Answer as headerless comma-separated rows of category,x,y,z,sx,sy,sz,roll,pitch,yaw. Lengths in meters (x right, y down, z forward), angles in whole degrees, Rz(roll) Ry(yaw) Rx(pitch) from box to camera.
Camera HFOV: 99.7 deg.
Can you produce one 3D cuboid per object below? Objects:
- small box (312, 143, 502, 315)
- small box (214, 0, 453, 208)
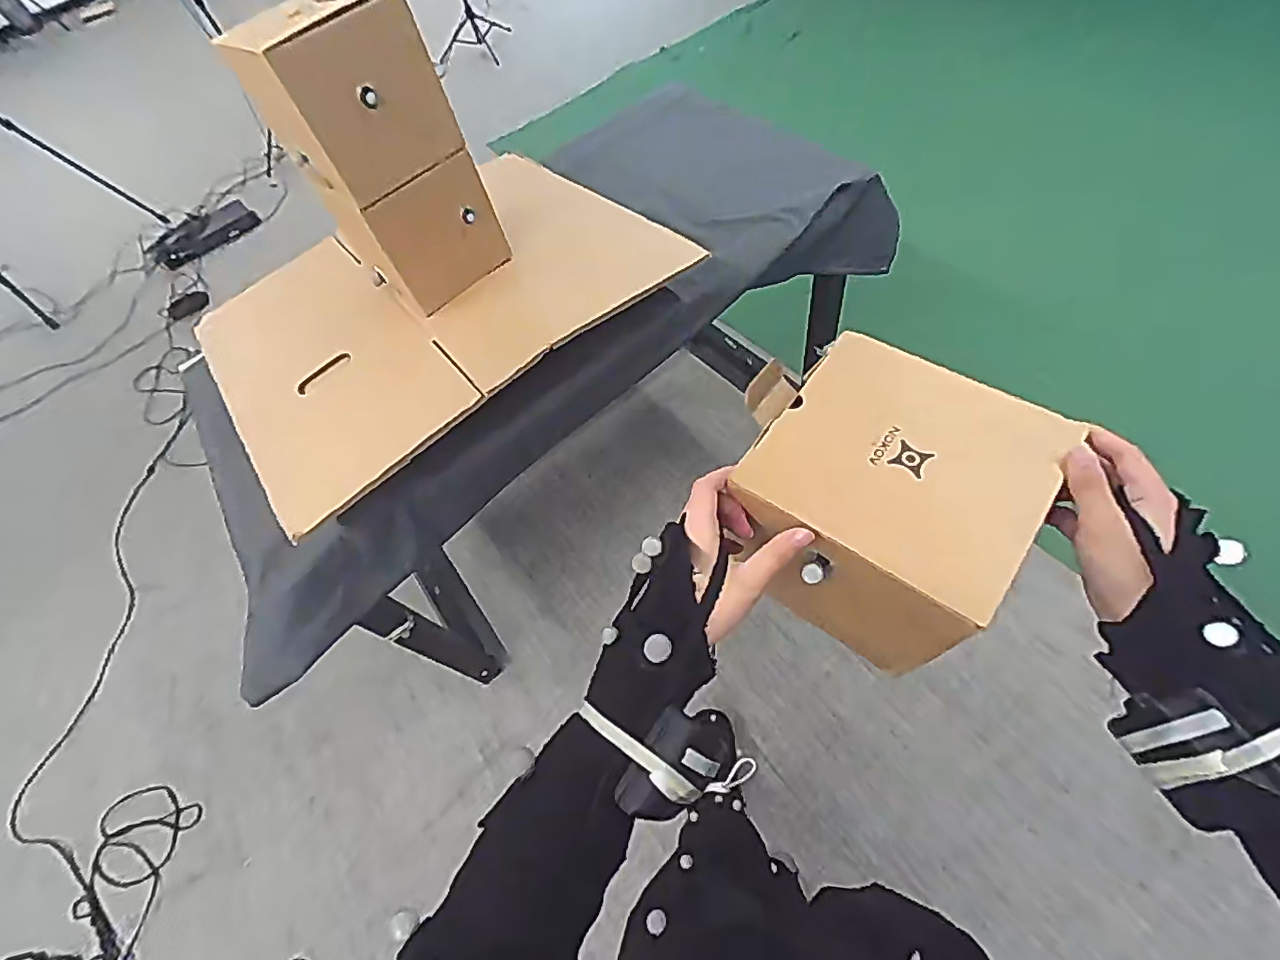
small box,-0.329,-0.382,0.803,0.168,0.176,0.179,35,70,31
small box,-0.360,-0.476,0.671,0.168,0.176,0.179,34,70,30
